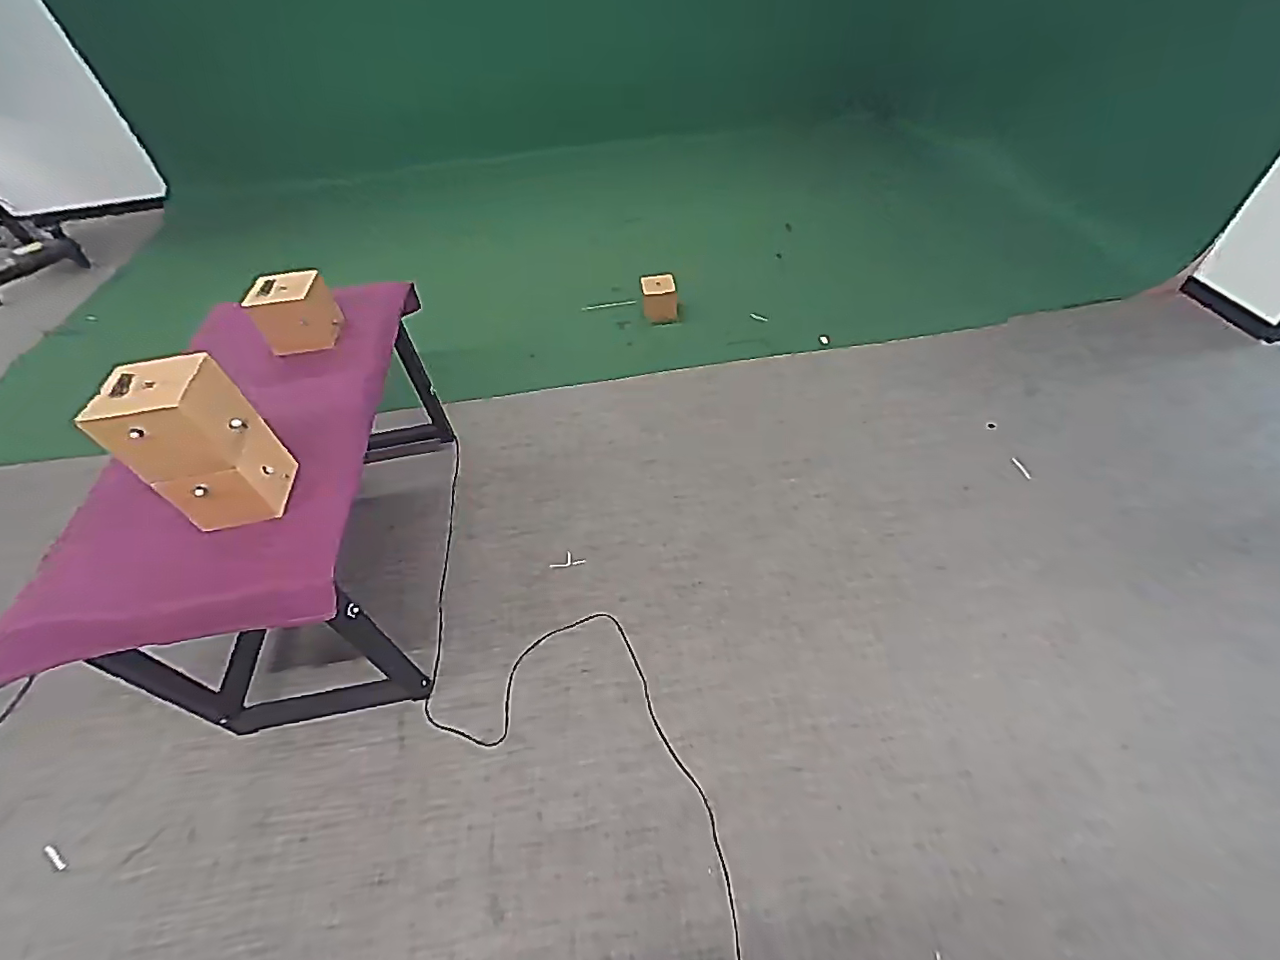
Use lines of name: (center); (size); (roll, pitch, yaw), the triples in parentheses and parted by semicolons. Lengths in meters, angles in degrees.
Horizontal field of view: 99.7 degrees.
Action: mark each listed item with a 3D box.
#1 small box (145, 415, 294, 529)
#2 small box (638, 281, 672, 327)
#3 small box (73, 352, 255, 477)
small box: (-0.896, -0.015, 1.178); (0.179, 0.176, 0.168); (-11, 49, -4)
small box: (0.078, -0.936, 2.879); (0.168, 0.176, 0.179); (-7, 49, -2)
small box: (-0.909, -0.123, 1.055); (0.179, 0.176, 0.168); (-10, 49, -5)
